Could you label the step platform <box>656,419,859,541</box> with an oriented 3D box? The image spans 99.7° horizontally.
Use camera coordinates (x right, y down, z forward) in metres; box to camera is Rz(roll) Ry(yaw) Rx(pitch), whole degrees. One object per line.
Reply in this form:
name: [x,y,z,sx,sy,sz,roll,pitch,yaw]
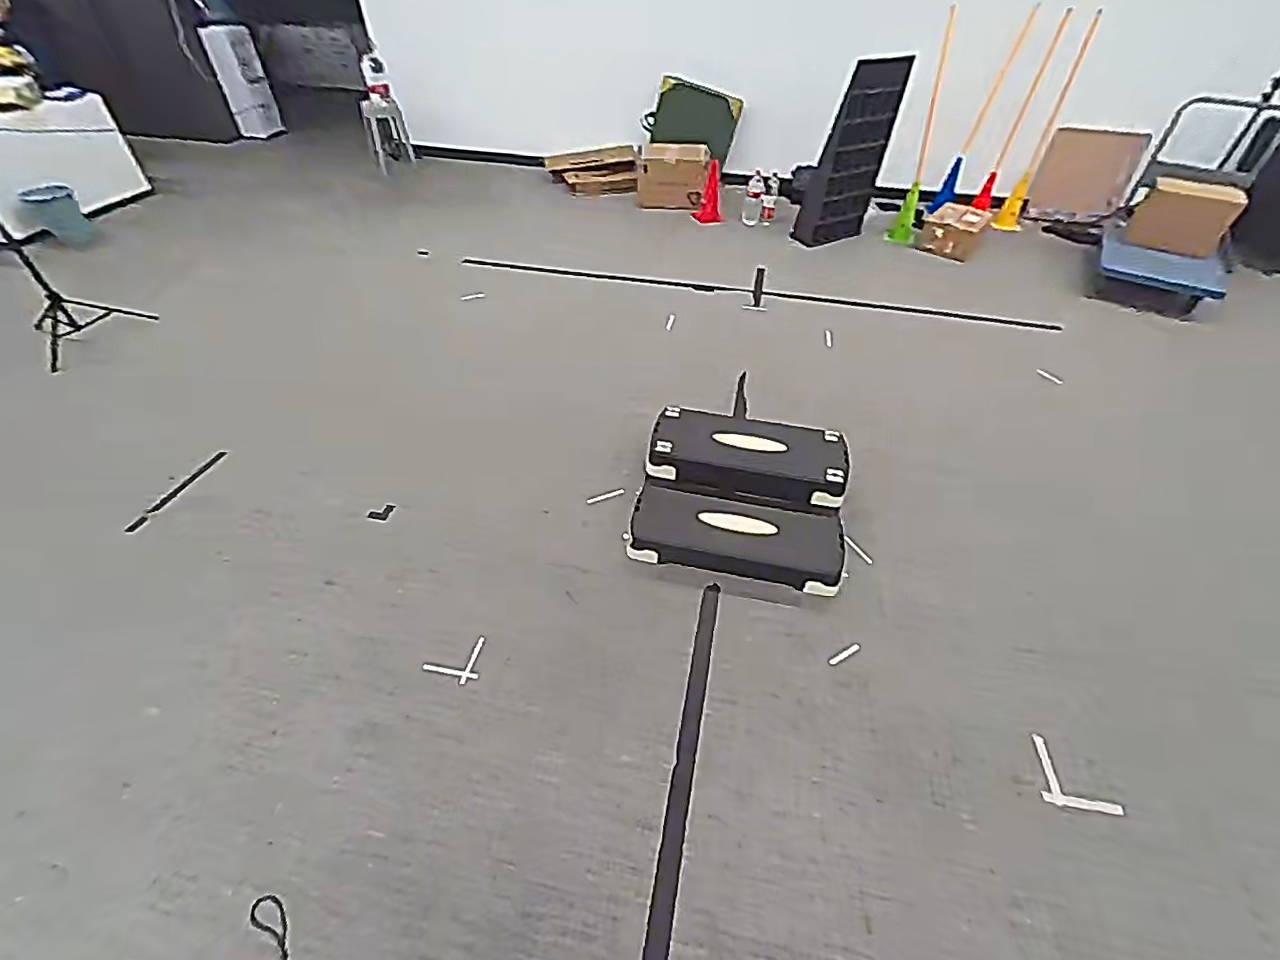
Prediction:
step platform: [0.405,-0.011,1.907,0.684,0.204,0.286,13,45,11]
